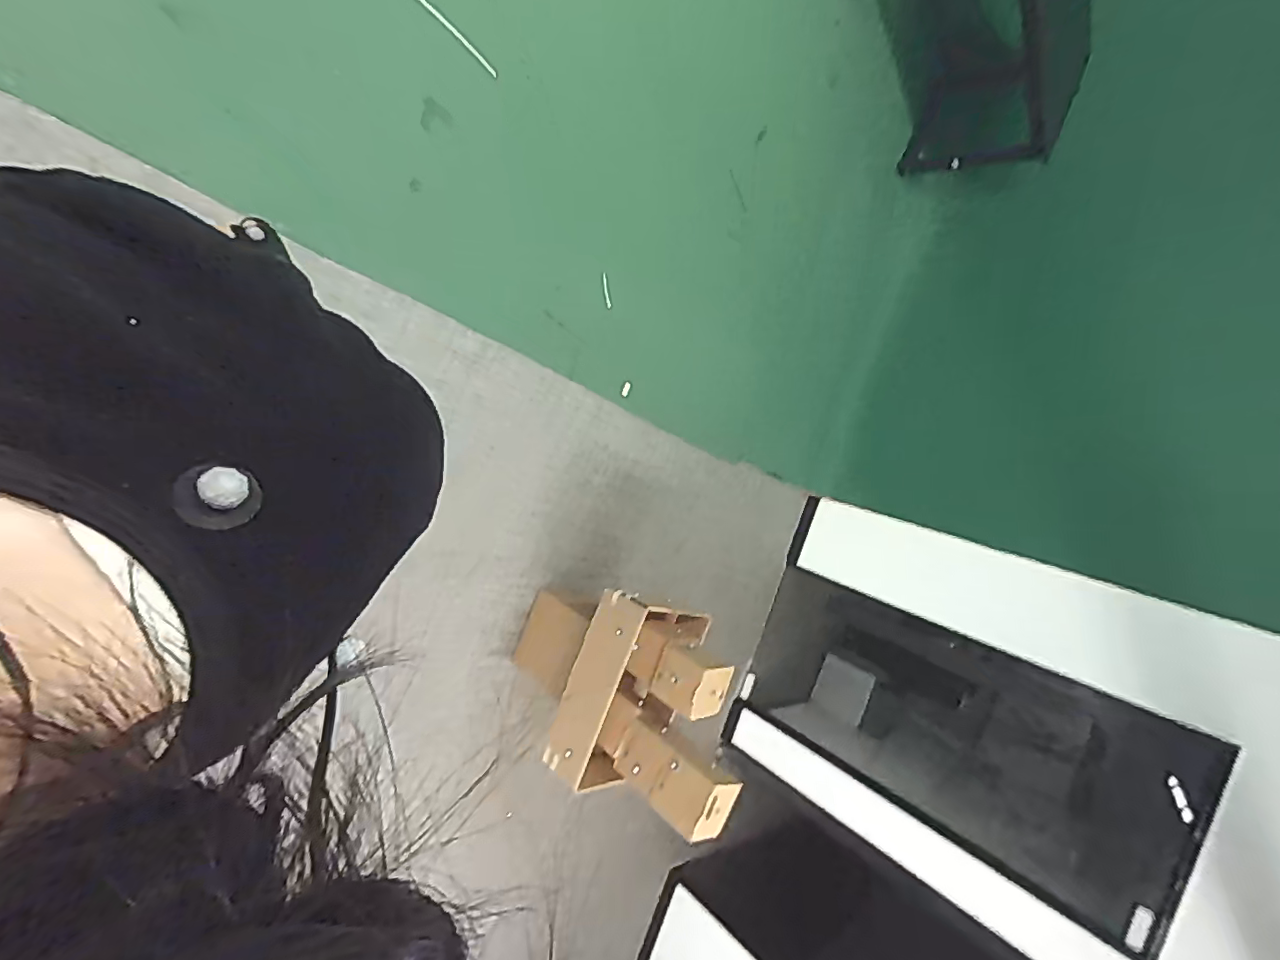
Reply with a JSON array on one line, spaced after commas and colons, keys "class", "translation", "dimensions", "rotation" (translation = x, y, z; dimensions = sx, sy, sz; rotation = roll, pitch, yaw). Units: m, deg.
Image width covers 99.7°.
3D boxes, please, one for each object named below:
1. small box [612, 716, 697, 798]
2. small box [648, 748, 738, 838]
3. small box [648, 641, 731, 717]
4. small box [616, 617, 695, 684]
[{"class": "small box", "translation": [0.043, 0.869, 1.710], "dimensions": [0.179, 0.176, 0.168], "rotation": [31, 84, -48]}, {"class": "small box", "translation": [0.153, 0.917, 1.598], "dimensions": [0.179, 0.176, 0.168], "rotation": [35, 80, -48]}, {"class": "small box", "translation": [0.154, 0.627, 1.723], "dimensions": [0.179, 0.176, 0.168], "rotation": [18, 93, -48]}, {"class": "small box", "translation": [0.052, 0.577, 1.843], "dimensions": [0.179, 0.176, 0.168], "rotation": [17, 92, -48]}]
